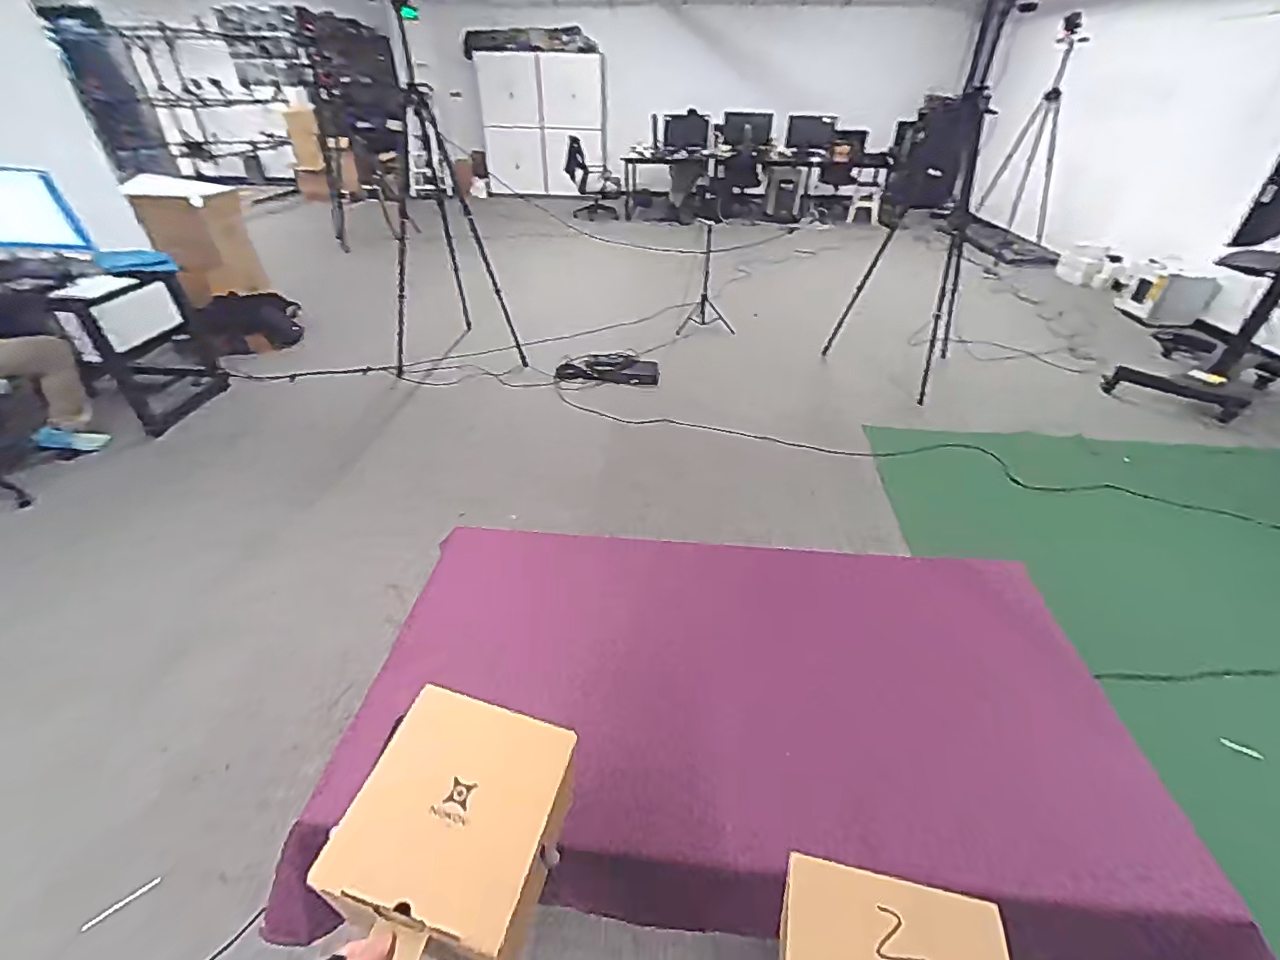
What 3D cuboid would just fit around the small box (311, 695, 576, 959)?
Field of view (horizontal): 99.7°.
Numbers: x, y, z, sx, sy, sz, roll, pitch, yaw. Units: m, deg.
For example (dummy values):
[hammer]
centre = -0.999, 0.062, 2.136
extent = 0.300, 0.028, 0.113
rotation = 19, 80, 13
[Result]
[small box]
centre = -0.174, 0.354, 0.532
extent = 0.168, 0.176, 0.179
rotation = 16, 41, 7
